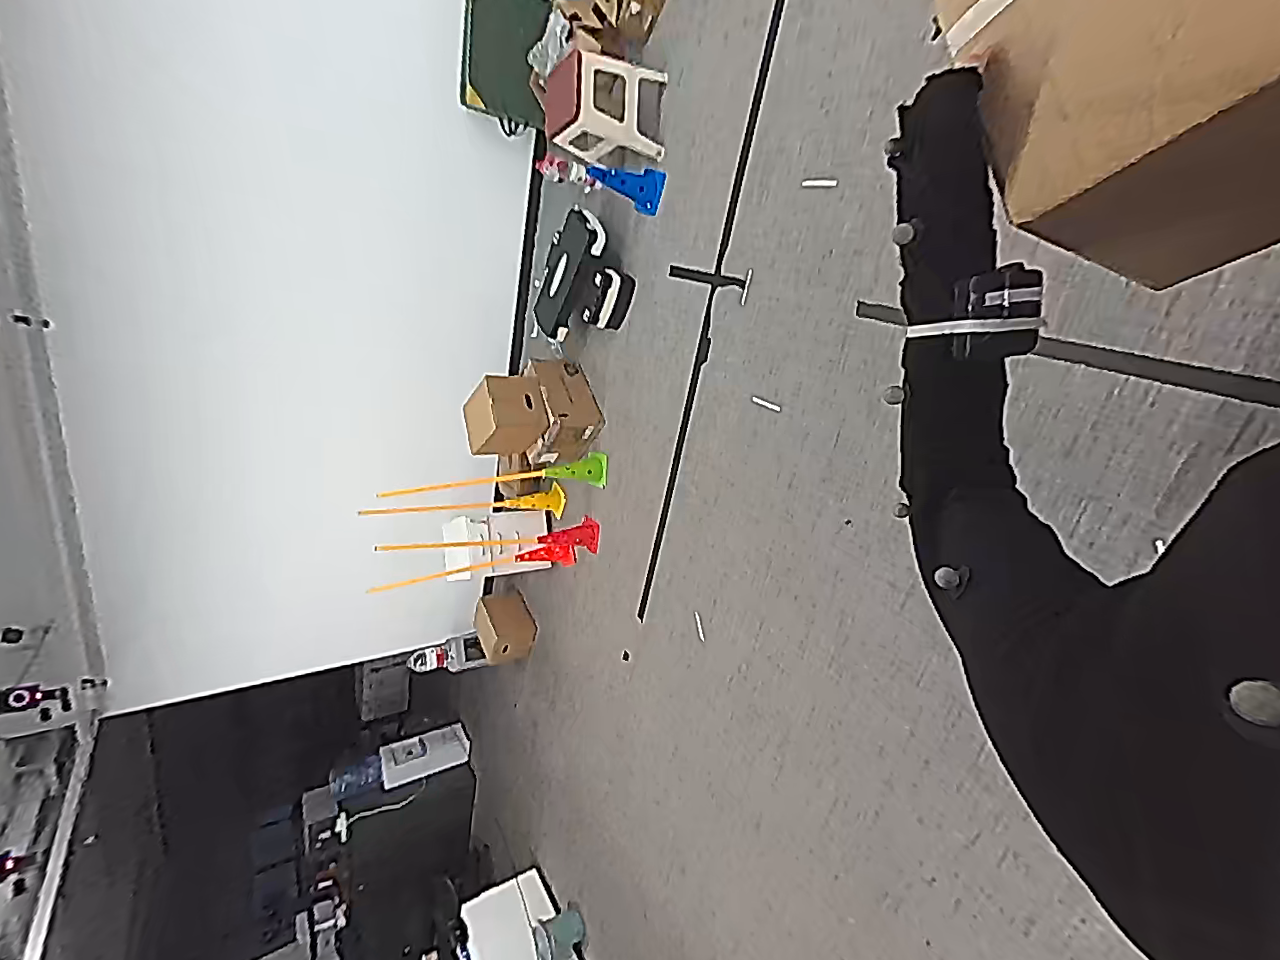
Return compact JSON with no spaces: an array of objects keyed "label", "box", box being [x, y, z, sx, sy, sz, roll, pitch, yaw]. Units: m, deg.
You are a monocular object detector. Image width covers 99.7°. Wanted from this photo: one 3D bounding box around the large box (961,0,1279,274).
[{"label":"large box","box":[0.475,-0.391,0.326,0.408,0.320,0.320,-24,72,55]}]
